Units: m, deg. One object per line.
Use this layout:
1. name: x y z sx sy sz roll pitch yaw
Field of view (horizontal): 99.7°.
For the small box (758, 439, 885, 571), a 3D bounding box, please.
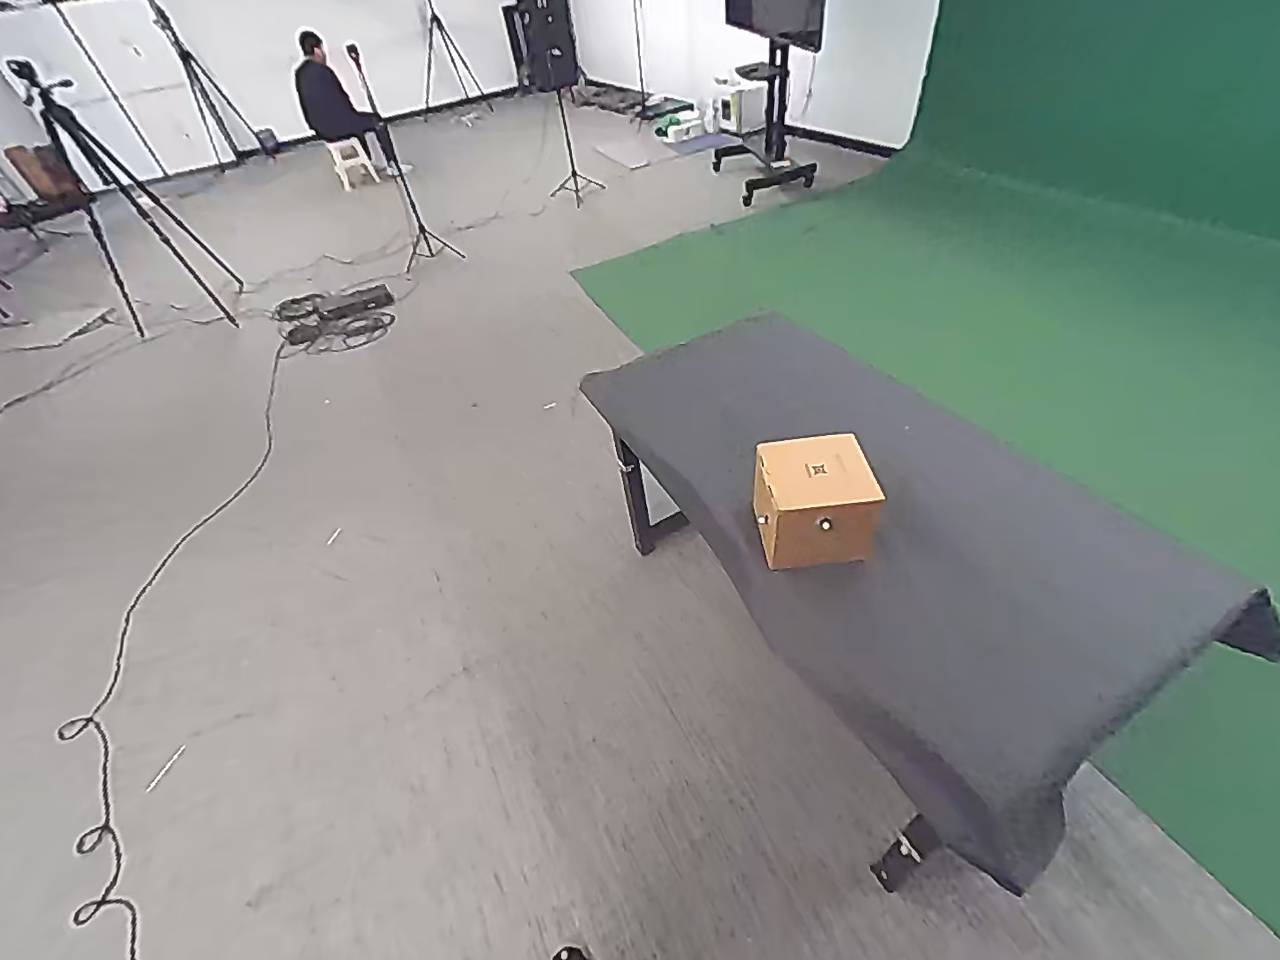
1. small box: 0.313 0.049 0.976 0.179 0.176 0.168 -6 45 2
